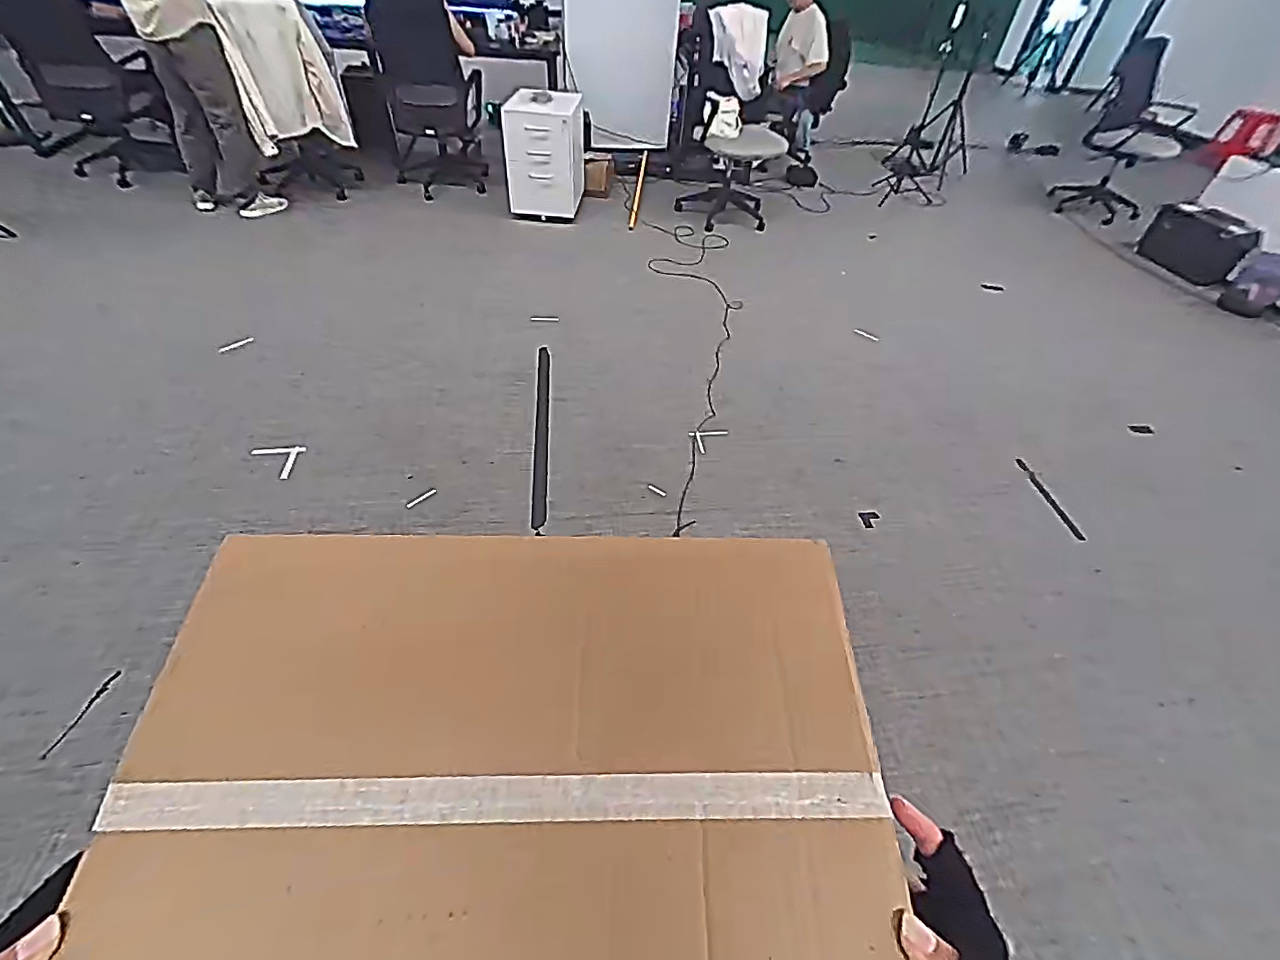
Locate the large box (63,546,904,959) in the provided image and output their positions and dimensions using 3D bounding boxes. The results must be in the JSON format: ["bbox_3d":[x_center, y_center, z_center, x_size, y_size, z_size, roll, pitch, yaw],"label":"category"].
[{"bbox_3d":[-0.077,0.258,0.417,0.408,0.320,0.320,1,57,-2],"label":"large box"}]
